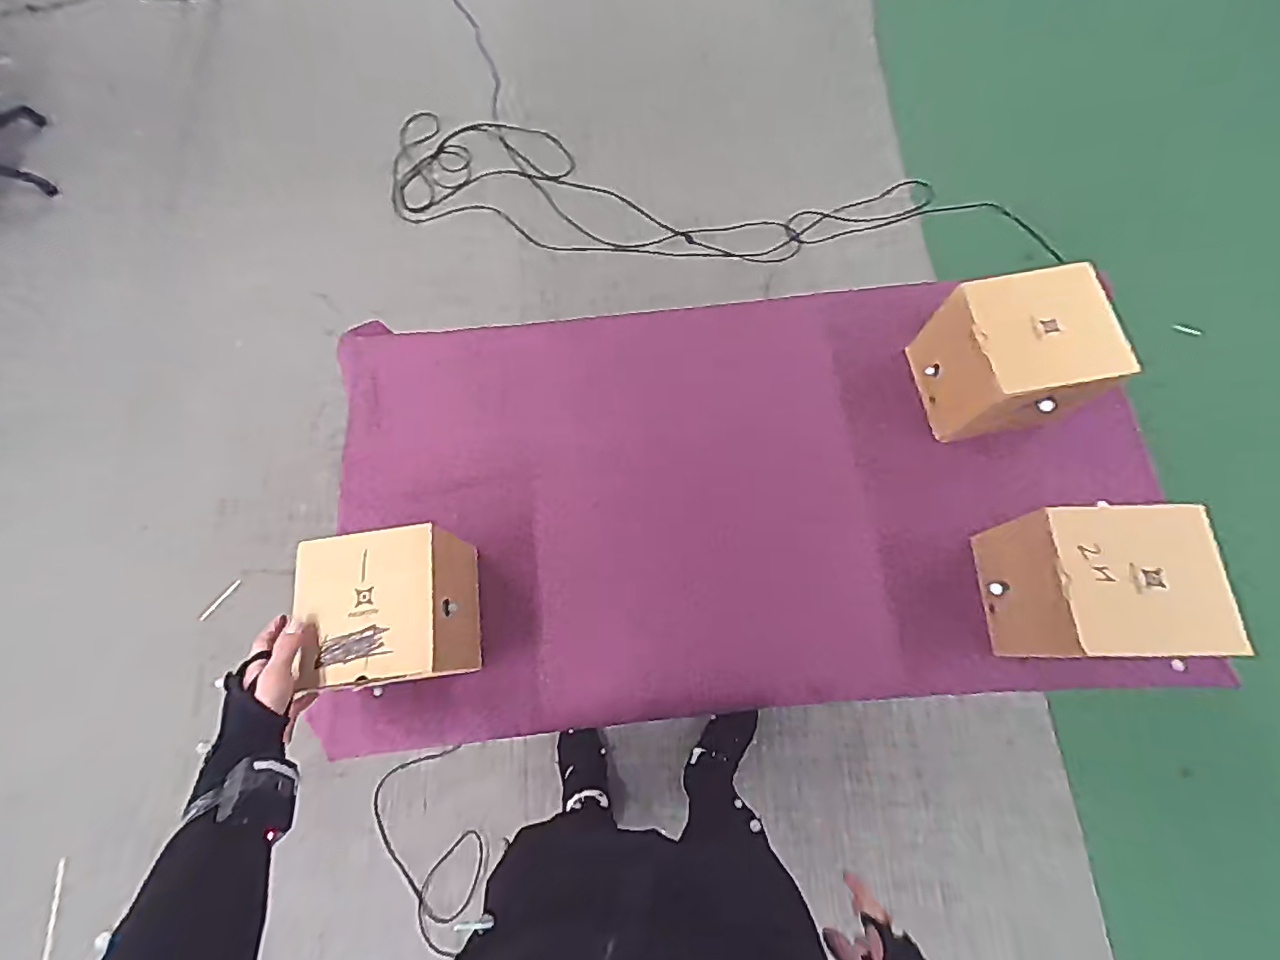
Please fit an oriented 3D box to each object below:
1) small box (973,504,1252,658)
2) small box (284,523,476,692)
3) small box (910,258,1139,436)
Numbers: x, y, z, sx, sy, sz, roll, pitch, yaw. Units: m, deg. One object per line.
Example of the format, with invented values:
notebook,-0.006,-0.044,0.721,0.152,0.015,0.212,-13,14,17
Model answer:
small box,0.551,0.128,0.661,0.179,0.176,0.168,-1,72,4
small box,-0.320,0.166,0.699,0.168,0.176,0.179,-8,72,0
small box,0.515,-0.175,0.754,0.179,0.176,0.168,-10,74,2
